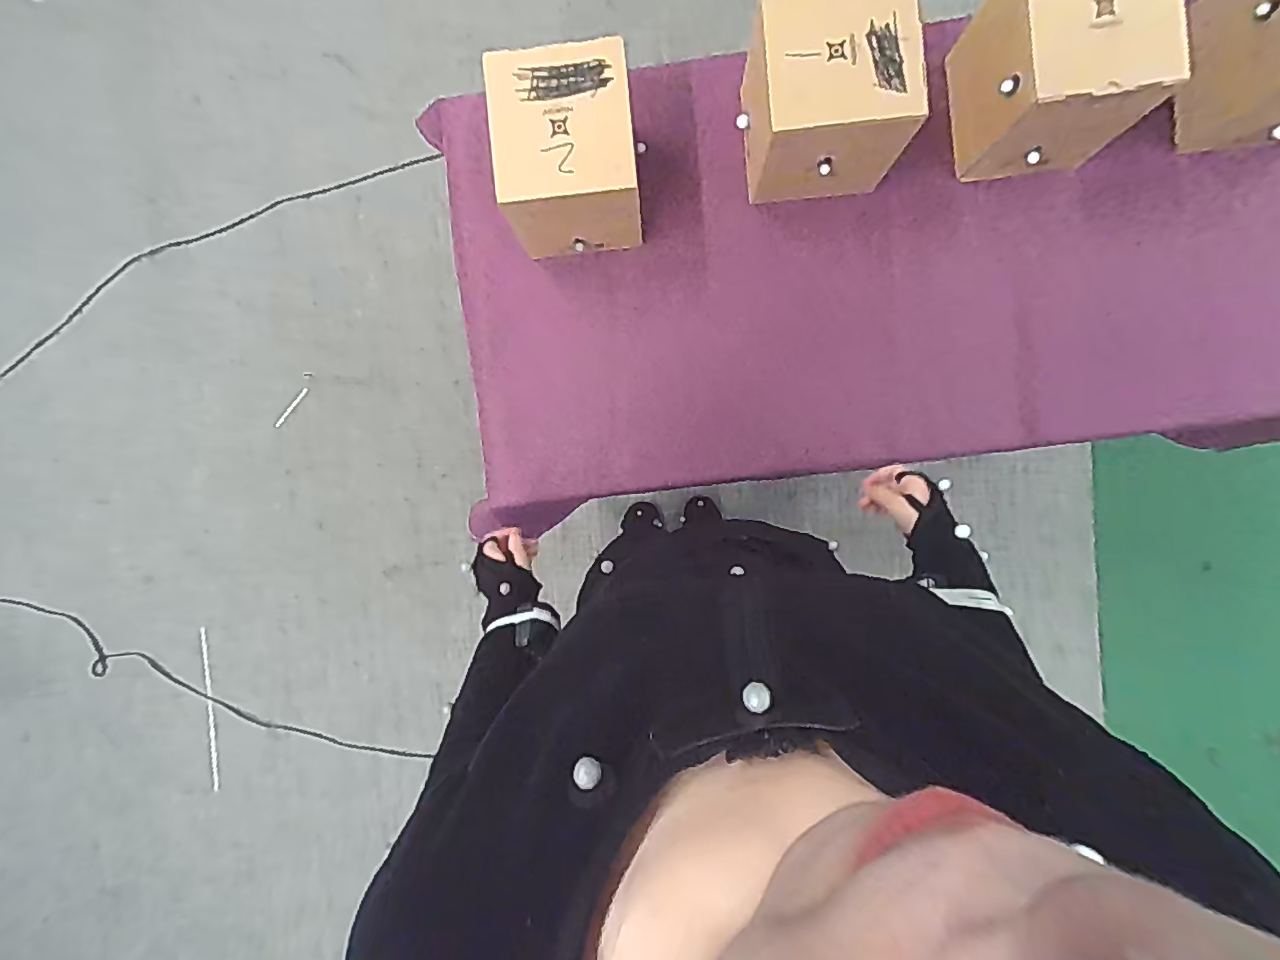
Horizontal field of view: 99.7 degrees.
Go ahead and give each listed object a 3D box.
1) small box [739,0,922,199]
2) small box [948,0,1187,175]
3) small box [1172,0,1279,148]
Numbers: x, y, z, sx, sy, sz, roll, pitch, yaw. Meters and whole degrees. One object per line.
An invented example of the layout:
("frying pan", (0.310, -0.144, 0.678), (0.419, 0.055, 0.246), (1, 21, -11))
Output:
("small box", (0.227, -0.482, 0.683), (0.179, 0.176, 0.168), (-5, 90, 4))
("small box", (0.507, -0.516, 0.669), (0.168, 0.176, 0.179), (-6, 92, 3))
("small box", (0.795, -0.538, 0.646), (0.168, 0.176, 0.179), (-4, 93, 4))
